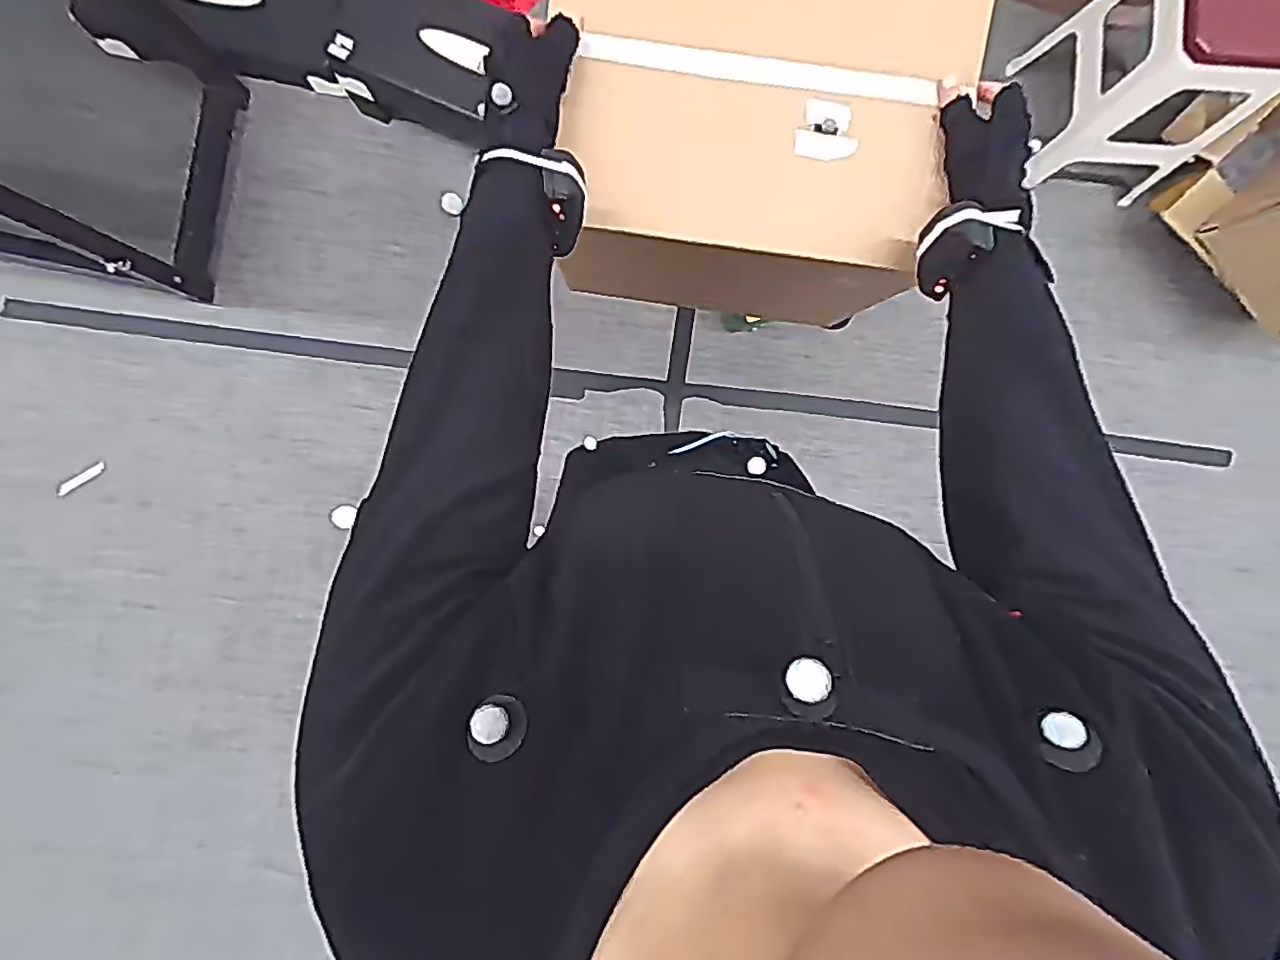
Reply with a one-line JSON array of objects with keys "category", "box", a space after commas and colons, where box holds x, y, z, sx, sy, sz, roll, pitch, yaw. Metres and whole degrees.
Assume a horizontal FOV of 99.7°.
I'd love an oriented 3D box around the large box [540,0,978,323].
[{"category": "large box", "box": [0.109, -0.396, 0.666, 0.408, 0.320, 0.320, 7, 97, -2]}]
